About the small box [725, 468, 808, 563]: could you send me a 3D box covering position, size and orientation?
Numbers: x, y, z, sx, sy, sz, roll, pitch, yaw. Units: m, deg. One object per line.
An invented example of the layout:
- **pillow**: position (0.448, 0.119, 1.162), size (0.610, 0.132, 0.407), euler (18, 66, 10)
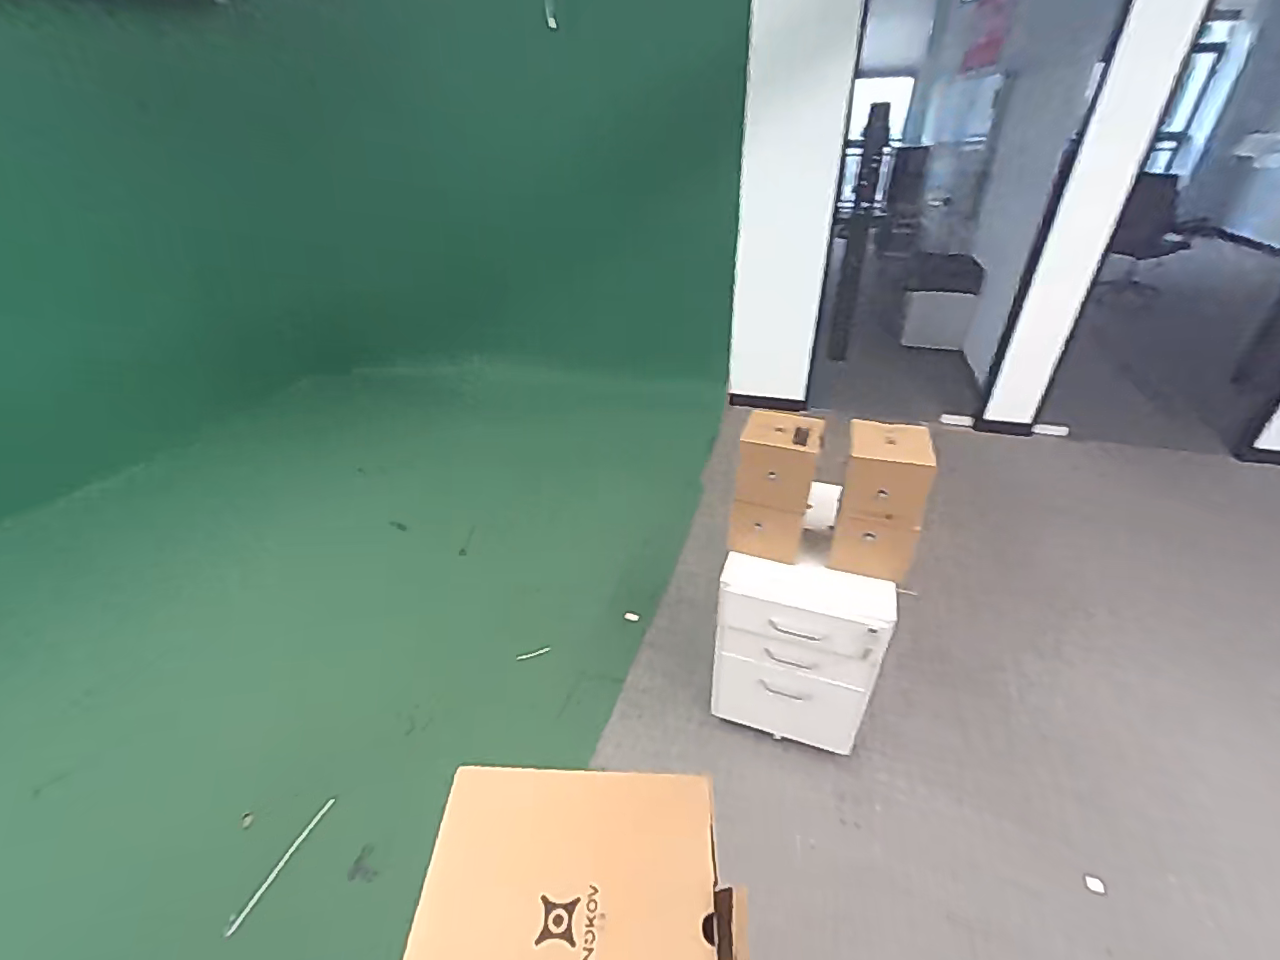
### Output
- **small box**: position (0.324, 0.091, 1.400), size (0.179, 0.176, 0.168), euler (12, 37, 17)

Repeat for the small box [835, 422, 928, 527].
- **small box**: position (0.552, -0.013, 1.251), size (0.168, 0.176, 0.179), euler (9, 35, 16)

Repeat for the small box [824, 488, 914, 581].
- **small box**: position (0.561, 0.127, 1.338), size (0.179, 0.176, 0.168), euler (10, 36, 18)
